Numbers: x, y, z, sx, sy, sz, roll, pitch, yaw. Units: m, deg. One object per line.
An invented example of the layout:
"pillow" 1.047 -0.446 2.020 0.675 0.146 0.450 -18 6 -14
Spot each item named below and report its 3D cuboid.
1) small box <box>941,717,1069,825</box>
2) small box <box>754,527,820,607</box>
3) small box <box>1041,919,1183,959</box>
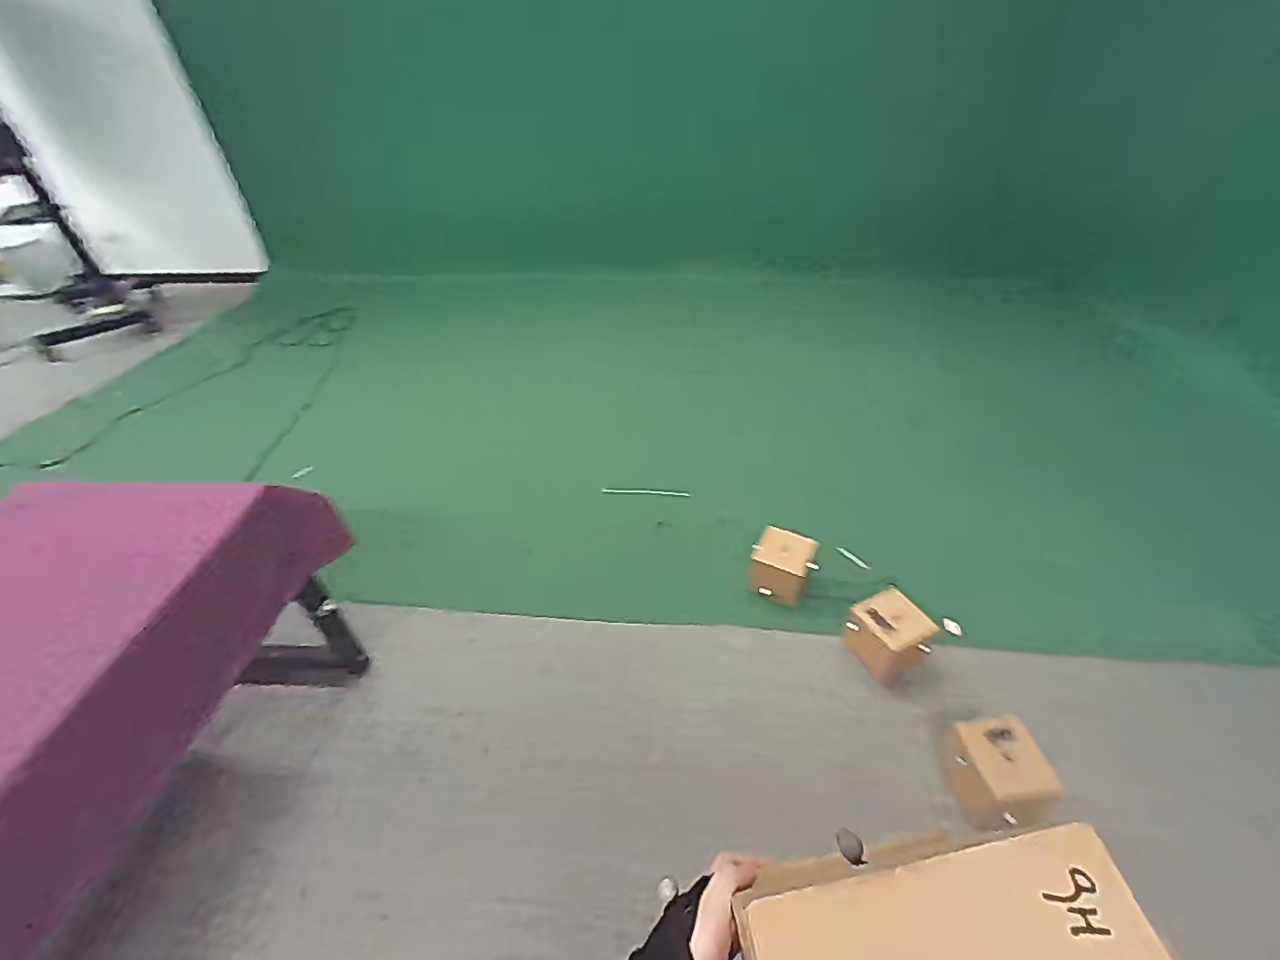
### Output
"small box" 0.873 0.708 1.317 0.168 0.176 0.179 -5 40 -2
"small box" 0.496 0.297 1.844 0.168 0.176 0.179 19 44 25
"small box" 0.903 0.961 1.010 0.168 0.176 0.179 3 40 7
